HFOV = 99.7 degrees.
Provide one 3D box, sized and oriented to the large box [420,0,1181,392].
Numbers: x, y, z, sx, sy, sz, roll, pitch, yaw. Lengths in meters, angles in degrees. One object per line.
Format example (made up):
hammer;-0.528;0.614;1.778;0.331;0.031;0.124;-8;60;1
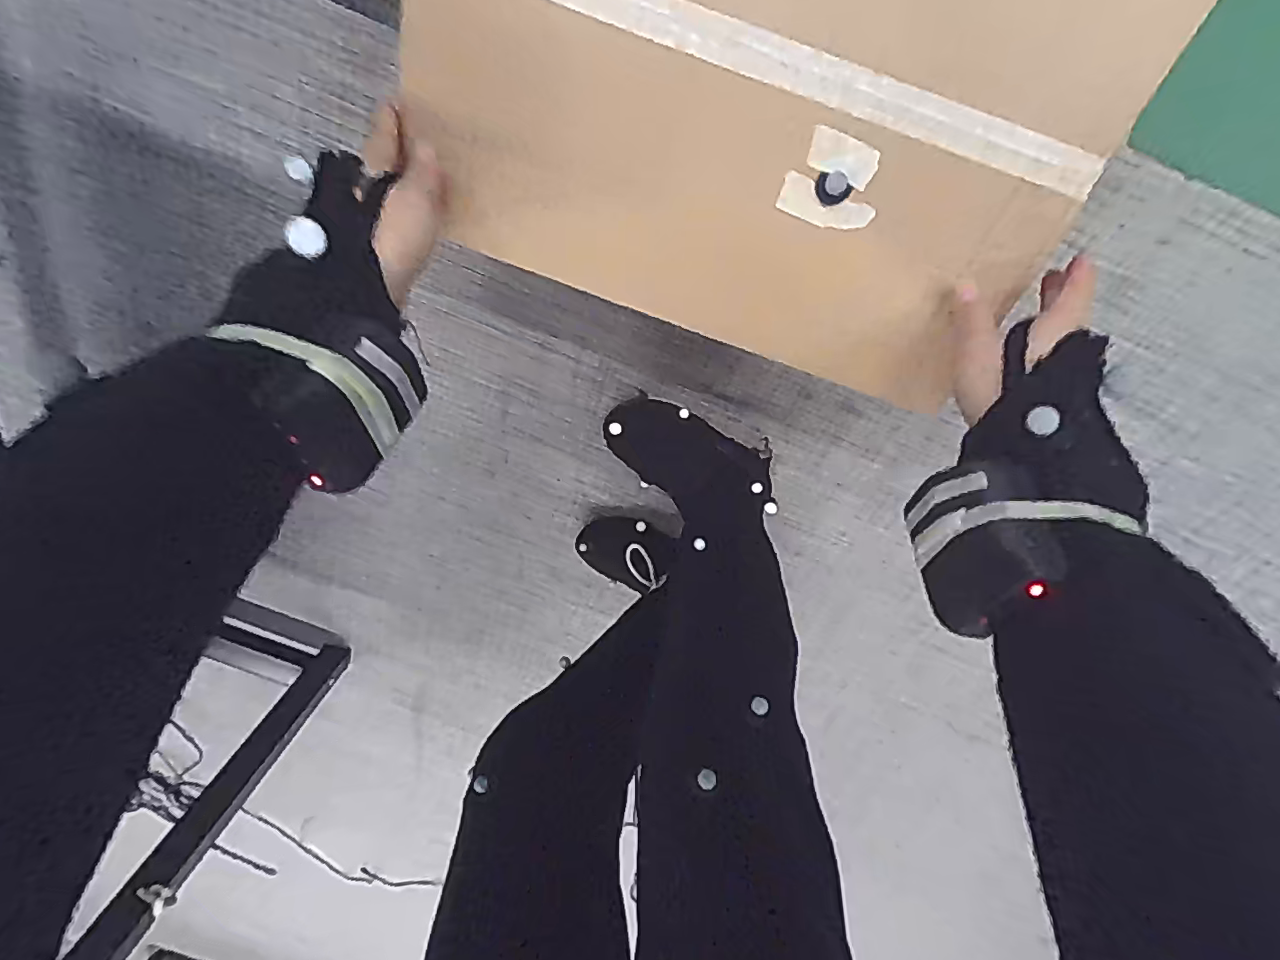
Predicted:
large box;0.089;-0.320;0.445;0.408;0.320;0.320;19;121;-2
